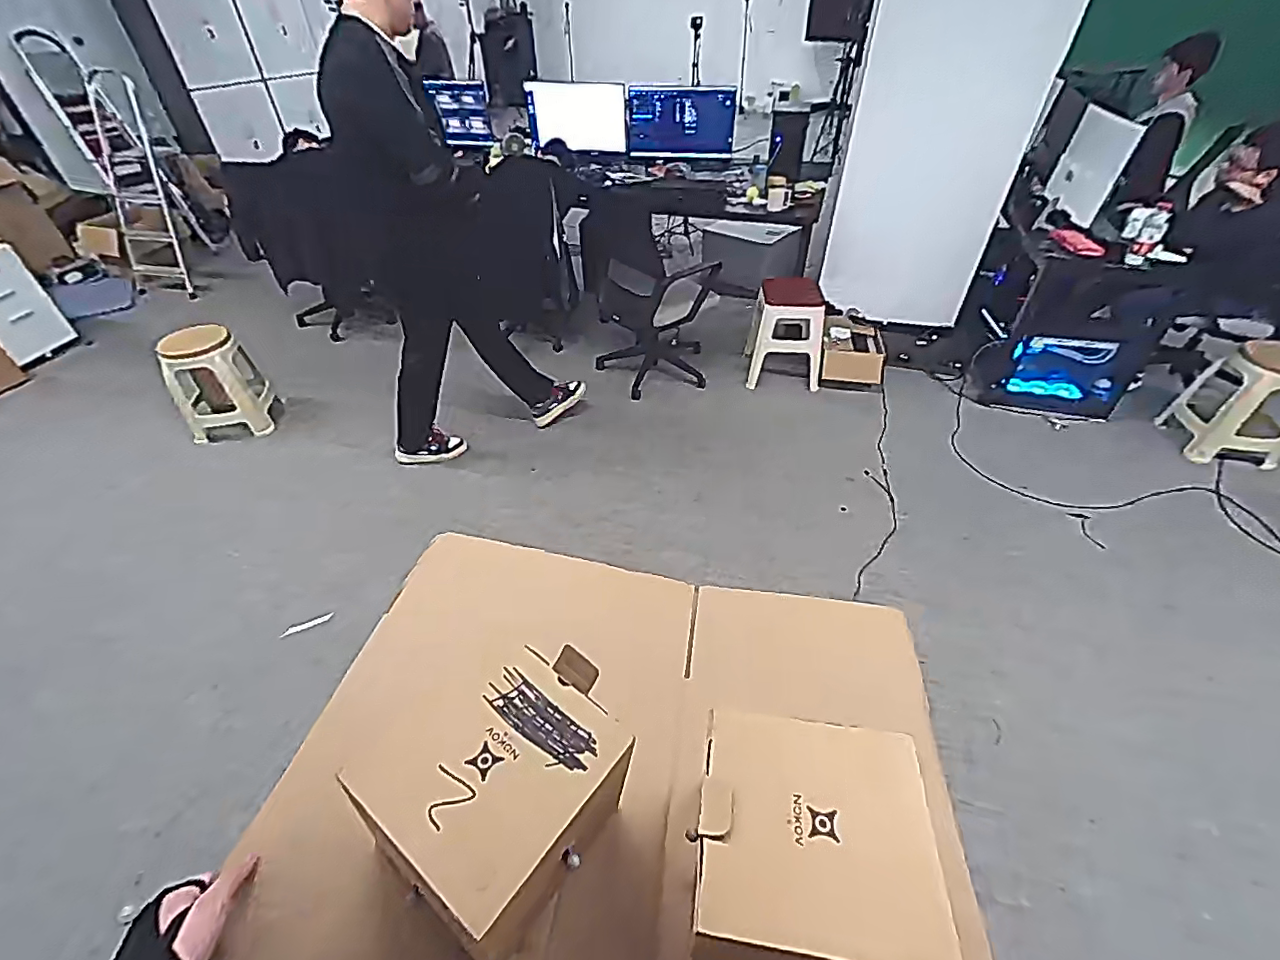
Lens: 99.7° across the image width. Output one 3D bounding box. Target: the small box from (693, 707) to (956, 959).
[{"bbox_3d":[0.143,0.333,0.483,0.179,0.176,0.168,4,39,9],"label":"small box"}]
